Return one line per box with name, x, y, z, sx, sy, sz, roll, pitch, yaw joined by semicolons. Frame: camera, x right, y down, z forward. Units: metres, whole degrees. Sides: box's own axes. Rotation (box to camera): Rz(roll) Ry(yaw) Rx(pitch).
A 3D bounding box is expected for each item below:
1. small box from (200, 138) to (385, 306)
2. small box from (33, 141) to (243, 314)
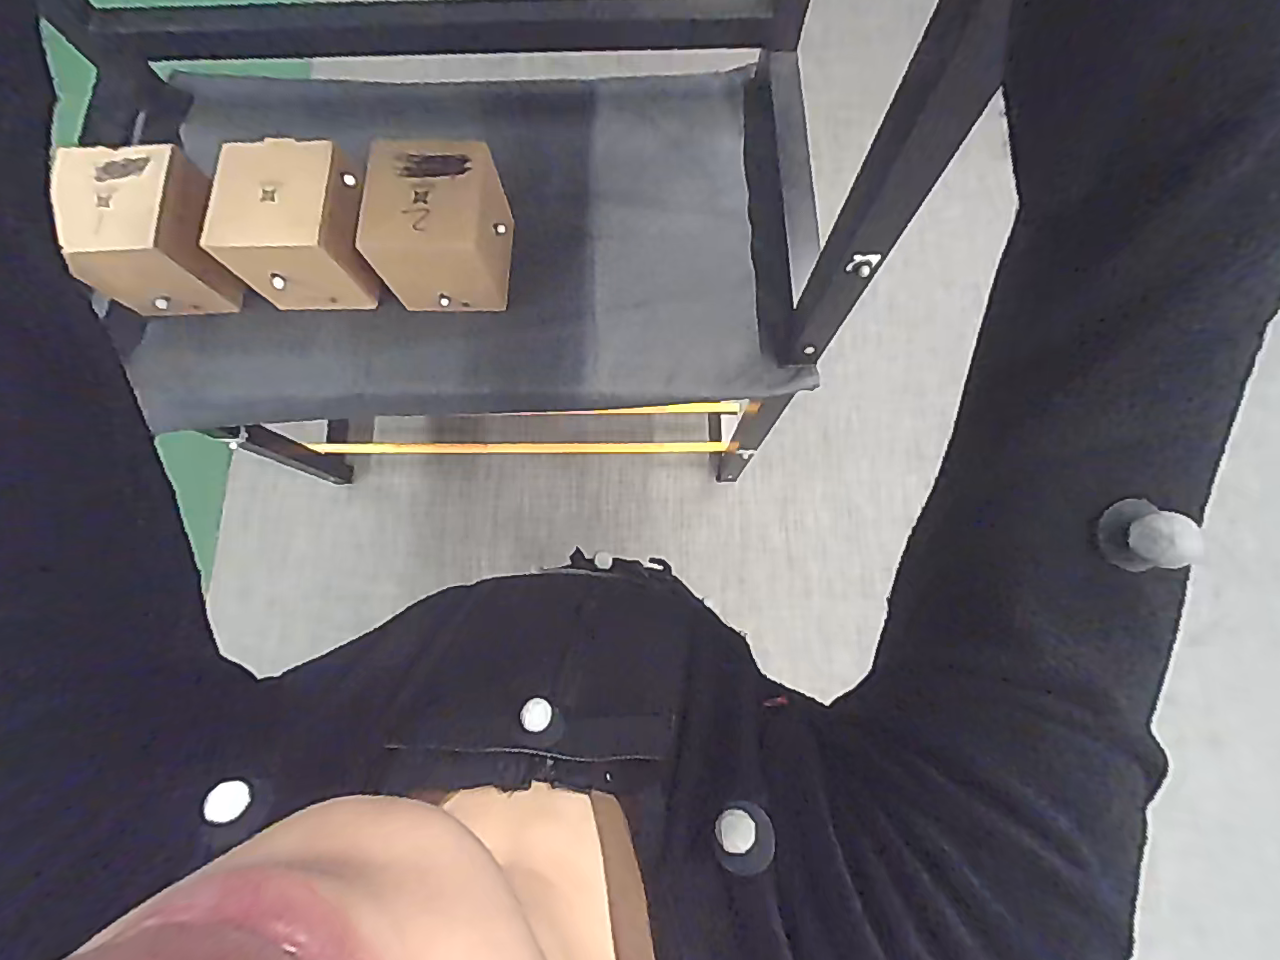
small box;-0.514;-0.383;0.828;0.168;0.176;0.179;0;76;1
small box;-0.741;-0.378;0.828;0.168;0.176;0.179;-3;77;1
